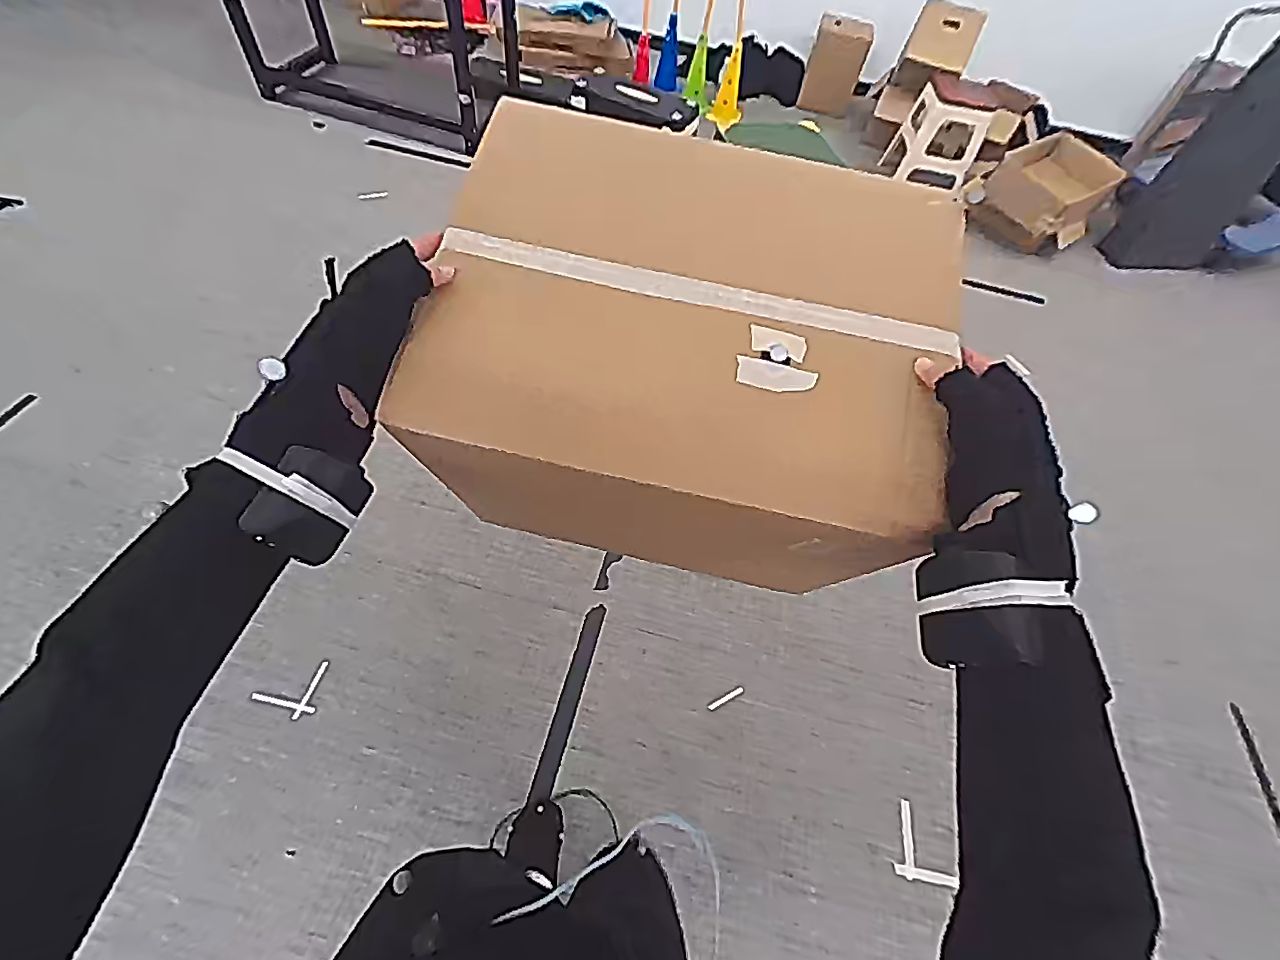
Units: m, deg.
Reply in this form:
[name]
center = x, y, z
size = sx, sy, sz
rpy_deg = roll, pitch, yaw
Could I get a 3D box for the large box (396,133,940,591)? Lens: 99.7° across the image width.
[large box]
center = 0.034, -0.087, 0.578
size = 0.408, 0.320, 0.320
rpy_deg = 13, 73, 1
